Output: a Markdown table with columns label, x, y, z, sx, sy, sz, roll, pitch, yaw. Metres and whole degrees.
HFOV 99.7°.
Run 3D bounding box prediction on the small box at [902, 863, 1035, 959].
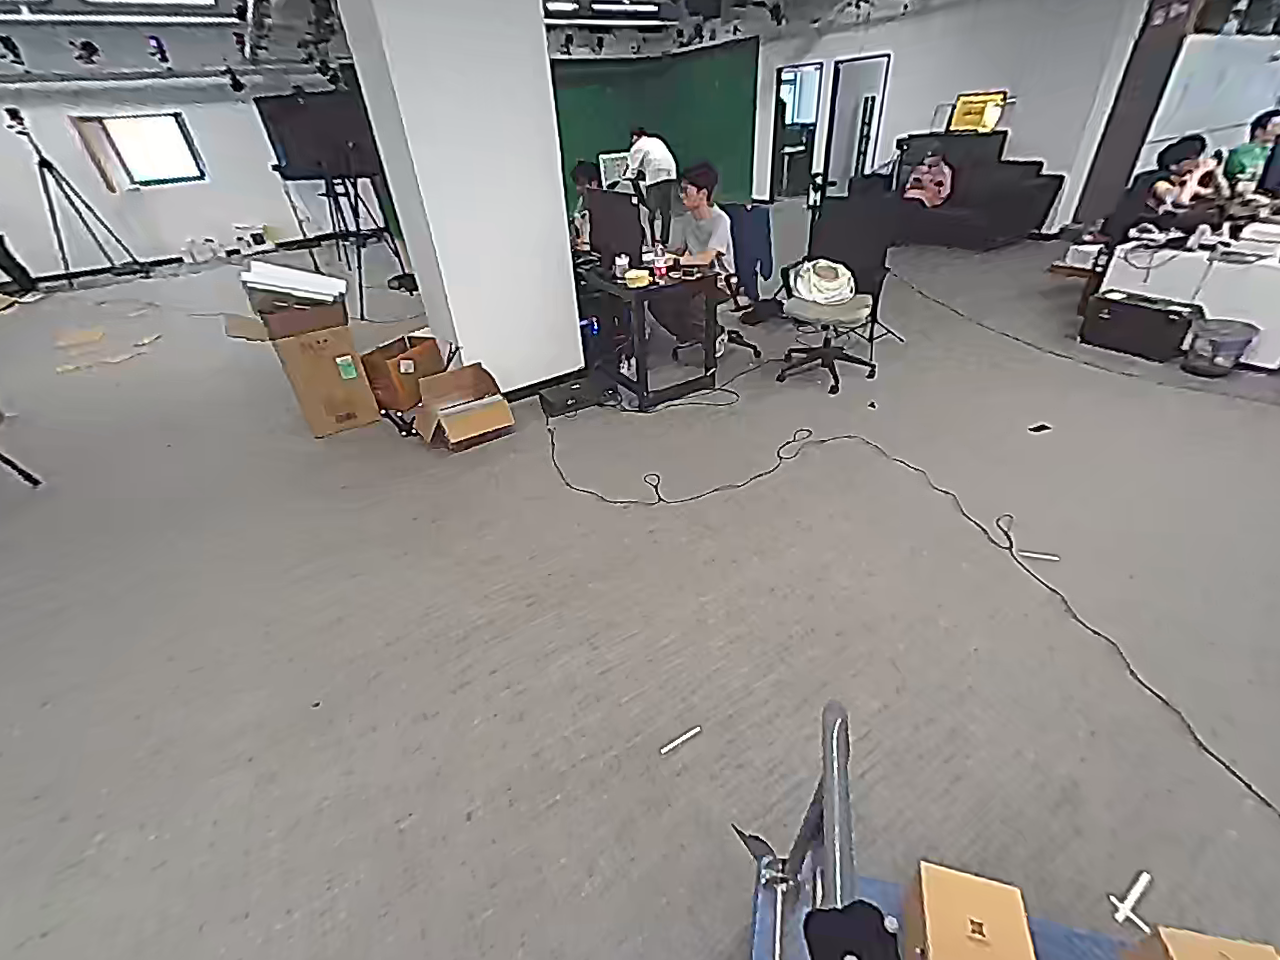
| label | x | y | z | sx | sy | sz | roll | pitch | yaw |
| --- | --- | --- | --- | --- | --- | --- | --- | --- | --- |
| small box | 0.578 | 0.837 | 0.964 | 0.168 | 0.176 | 0.179 | 7 | 37 | 16 |
